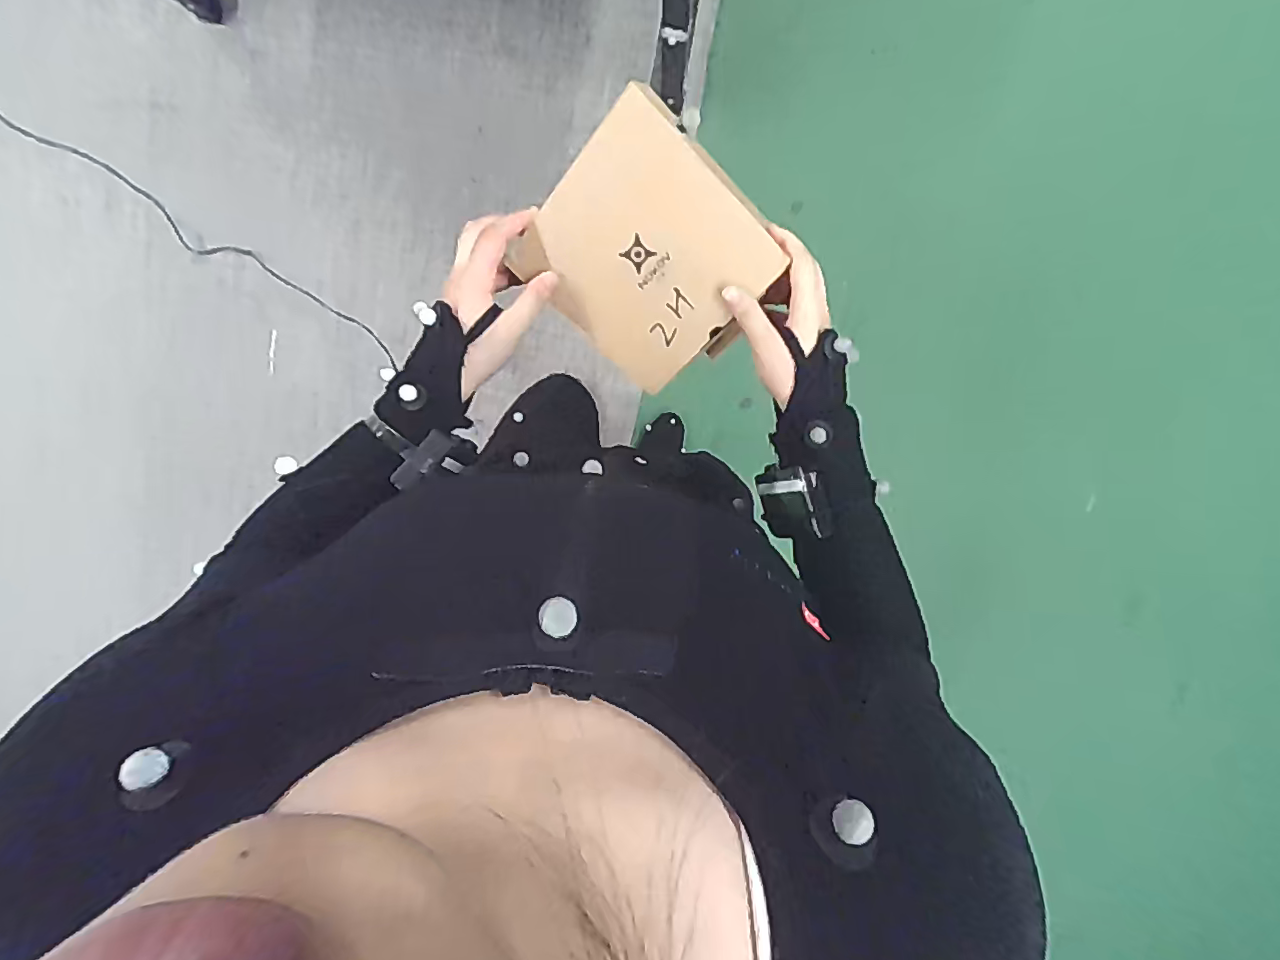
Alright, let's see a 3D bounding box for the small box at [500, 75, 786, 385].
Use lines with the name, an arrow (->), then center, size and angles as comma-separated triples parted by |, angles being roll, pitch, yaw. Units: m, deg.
small box -> 0.006, -0.228, 0.501 | 0.179, 0.176, 0.168 | 37, 122, -20
